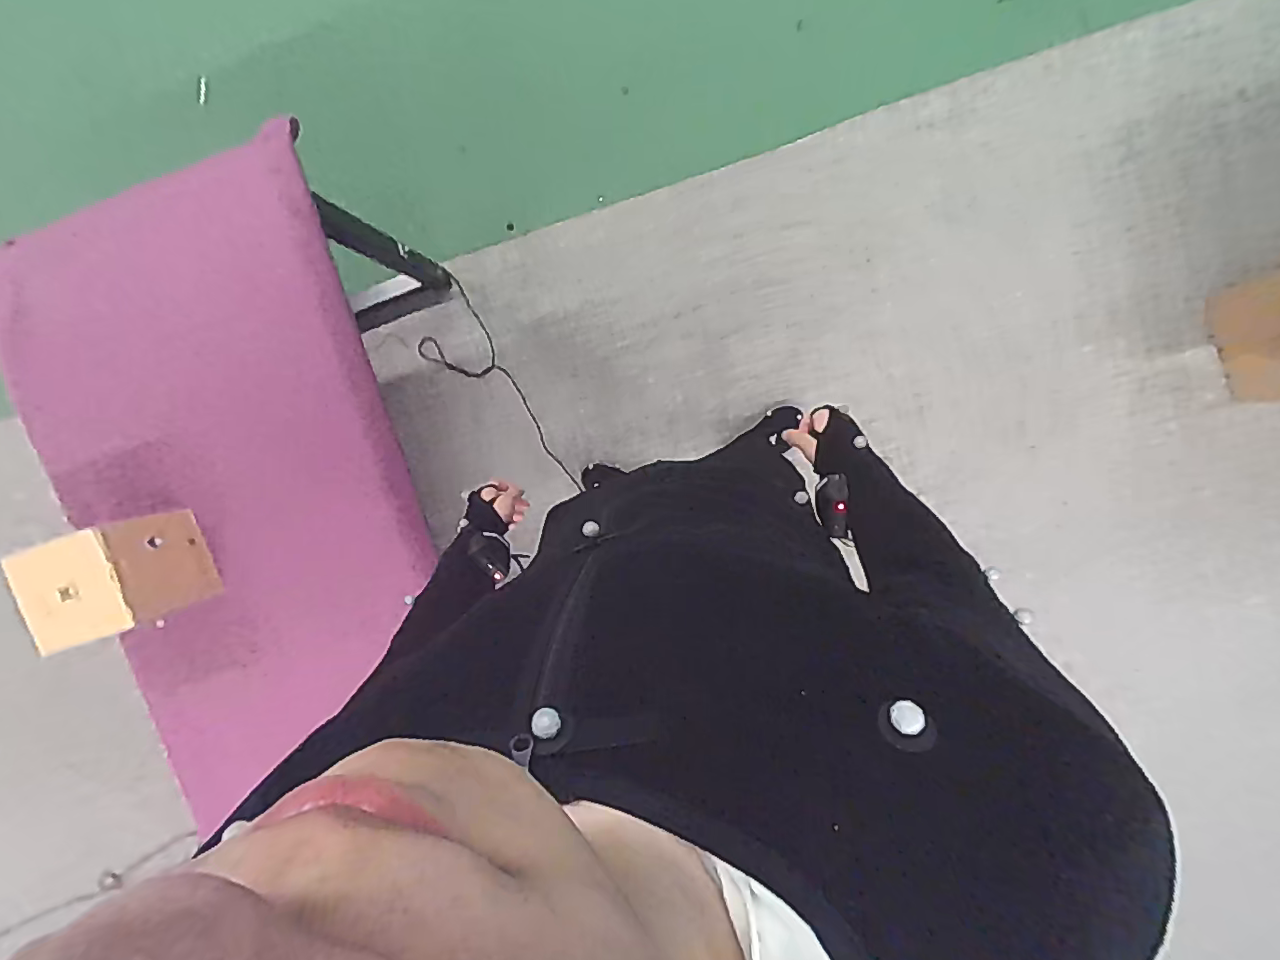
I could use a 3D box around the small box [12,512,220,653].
[{"bbox_3d":[-0.862,0.163,0.914,0.179,0.176,0.168,-18,94,7],"label":"small box"}]
